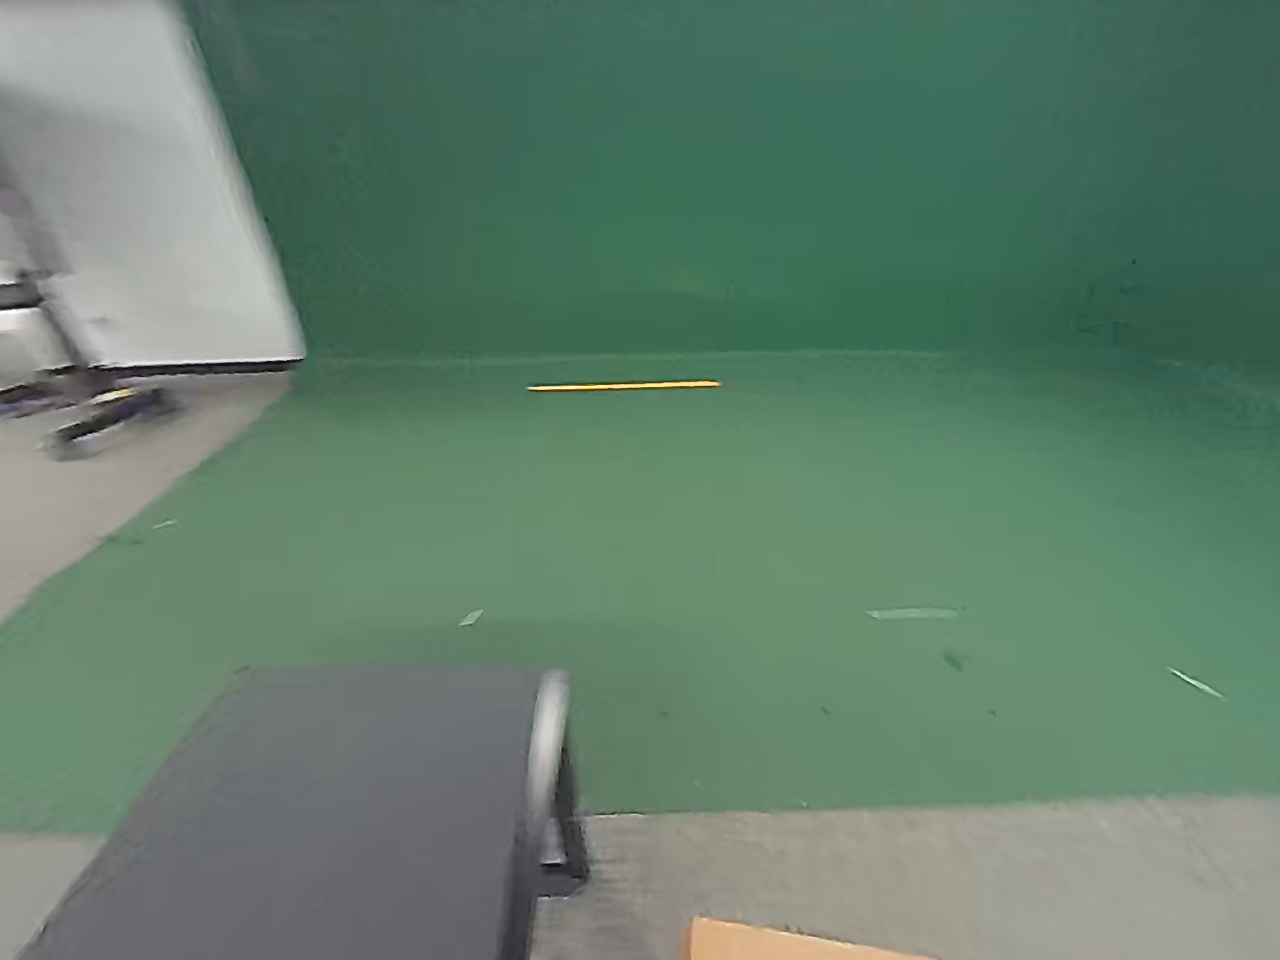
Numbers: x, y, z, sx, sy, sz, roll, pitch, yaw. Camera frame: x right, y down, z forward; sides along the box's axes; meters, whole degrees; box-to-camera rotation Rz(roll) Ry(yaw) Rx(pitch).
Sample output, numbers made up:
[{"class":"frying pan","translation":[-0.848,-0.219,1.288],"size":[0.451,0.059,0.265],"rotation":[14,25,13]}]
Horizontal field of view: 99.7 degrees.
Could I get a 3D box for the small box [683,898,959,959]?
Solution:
[{"class":"small box","translation":[0.108,0.406,0.348],"size":[0.168,0.176,0.179],"rotation":[7,45,6]}]
